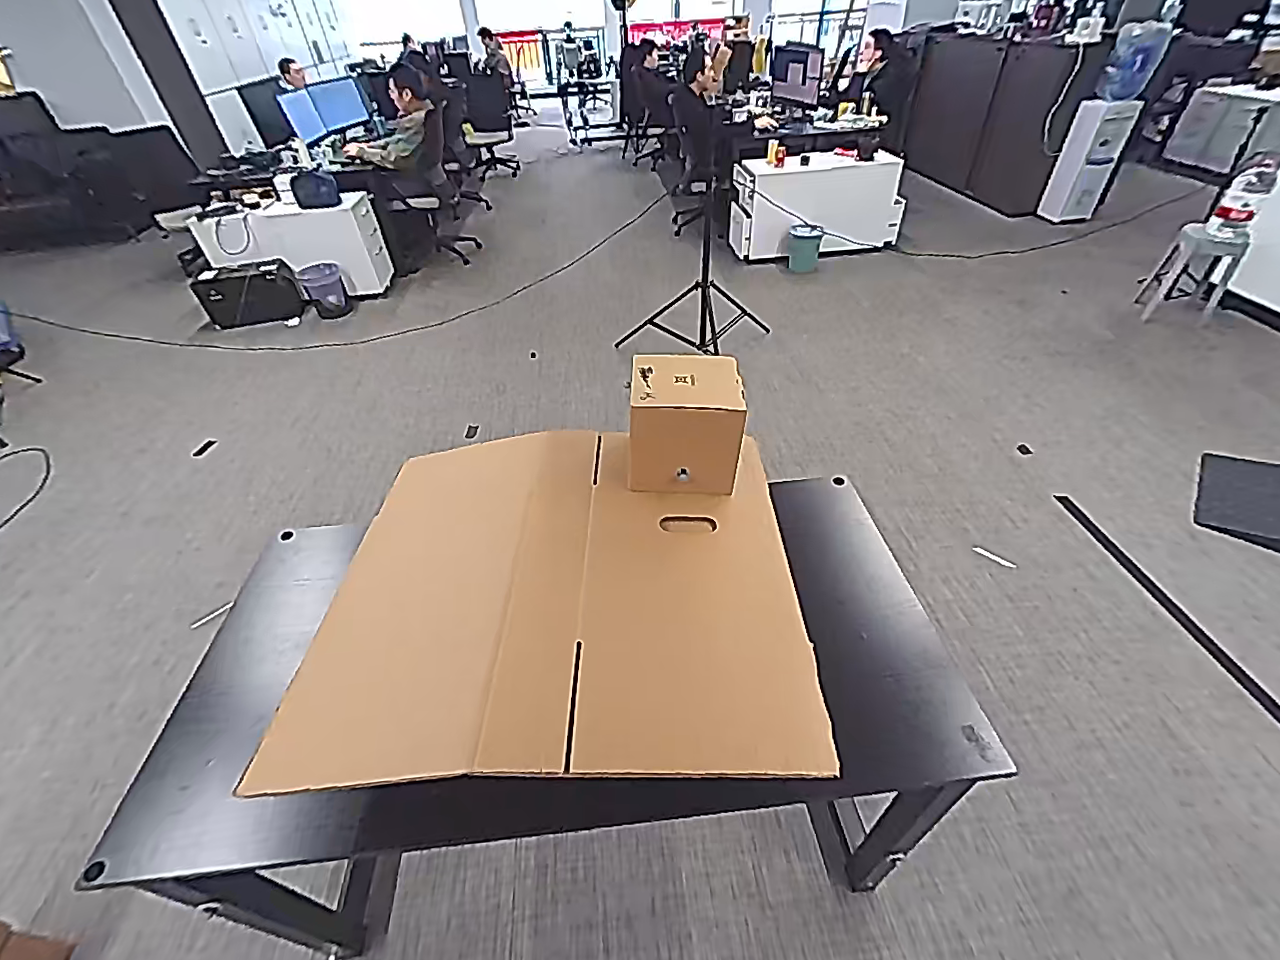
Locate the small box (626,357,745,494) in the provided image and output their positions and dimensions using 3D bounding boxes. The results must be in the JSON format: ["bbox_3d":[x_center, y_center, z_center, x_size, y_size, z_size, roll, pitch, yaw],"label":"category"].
[{"bbox_3d":[0.070,-0.090,0.915,0.179,0.176,0.168,2,39,0],"label":"small box"}]

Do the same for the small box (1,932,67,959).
[{"bbox_3d":[-1.331,1.050,1.086,0.168,0.176,0.179,-9,42,-5],"label":"small box"}]
